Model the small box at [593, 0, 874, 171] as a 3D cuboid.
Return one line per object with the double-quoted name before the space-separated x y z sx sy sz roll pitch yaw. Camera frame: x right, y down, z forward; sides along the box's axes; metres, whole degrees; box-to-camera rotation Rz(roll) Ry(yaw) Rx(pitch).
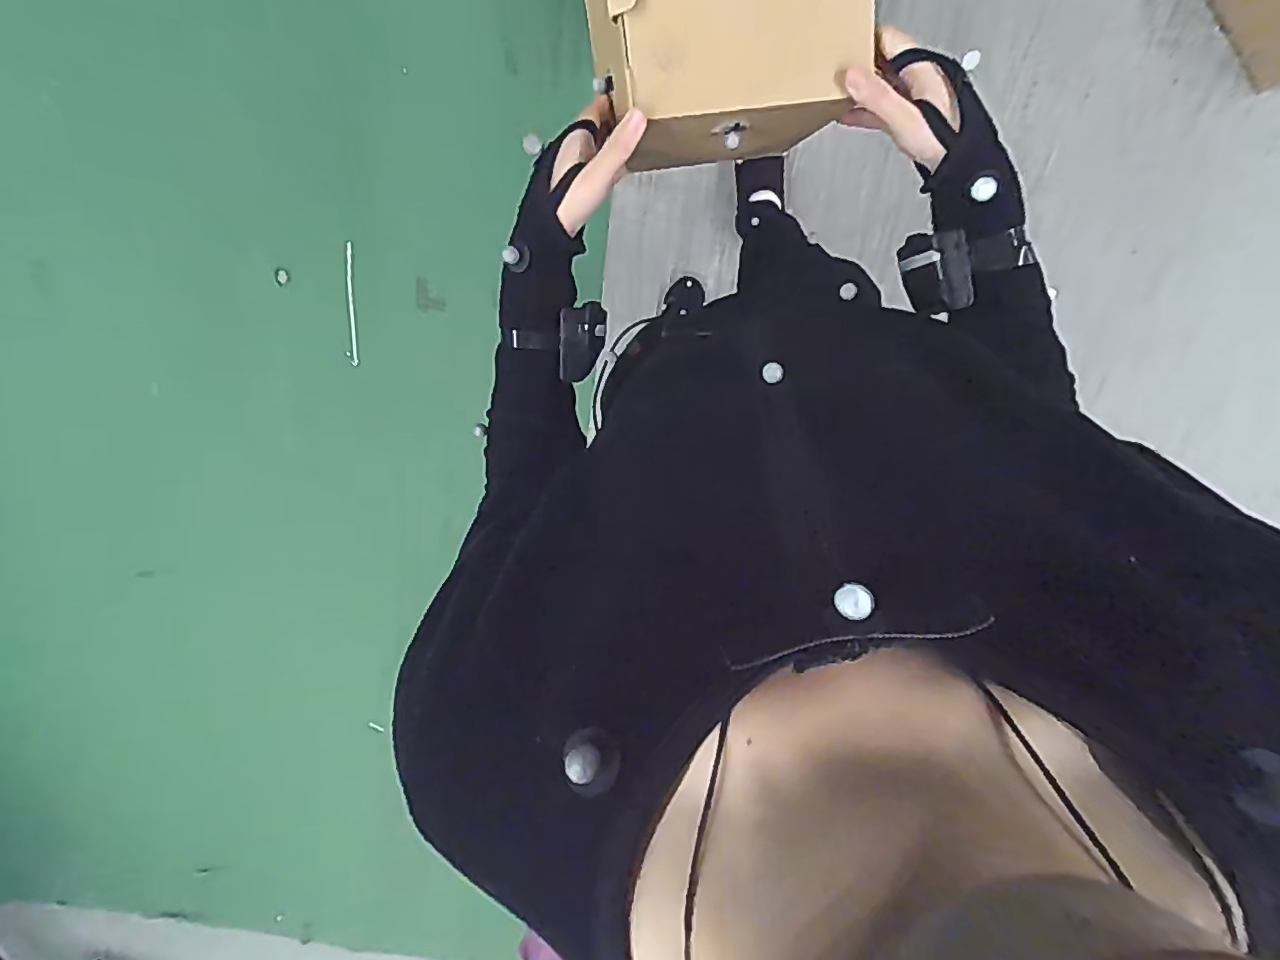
"small box" 0.057 -0.356 0.421 0.179 0.176 0.168 -9 109 -5
